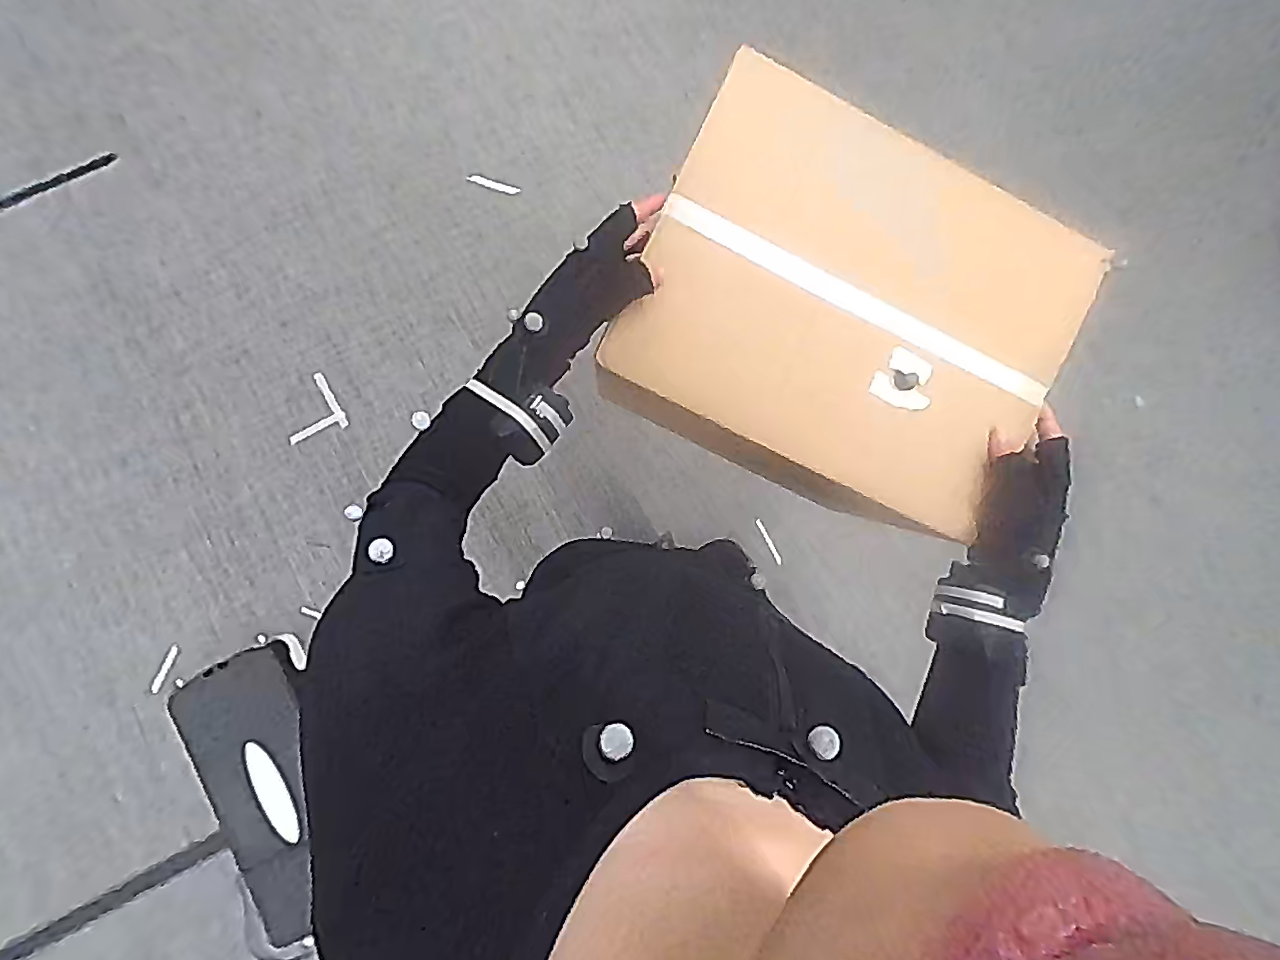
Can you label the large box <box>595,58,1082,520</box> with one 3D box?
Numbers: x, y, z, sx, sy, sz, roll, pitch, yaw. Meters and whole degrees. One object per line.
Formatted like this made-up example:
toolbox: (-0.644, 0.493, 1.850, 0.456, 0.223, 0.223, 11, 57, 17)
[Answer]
large box: (0.183, -0.182, 0.662, 0.408, 0.320, 0.320, 24, 92, -6)
